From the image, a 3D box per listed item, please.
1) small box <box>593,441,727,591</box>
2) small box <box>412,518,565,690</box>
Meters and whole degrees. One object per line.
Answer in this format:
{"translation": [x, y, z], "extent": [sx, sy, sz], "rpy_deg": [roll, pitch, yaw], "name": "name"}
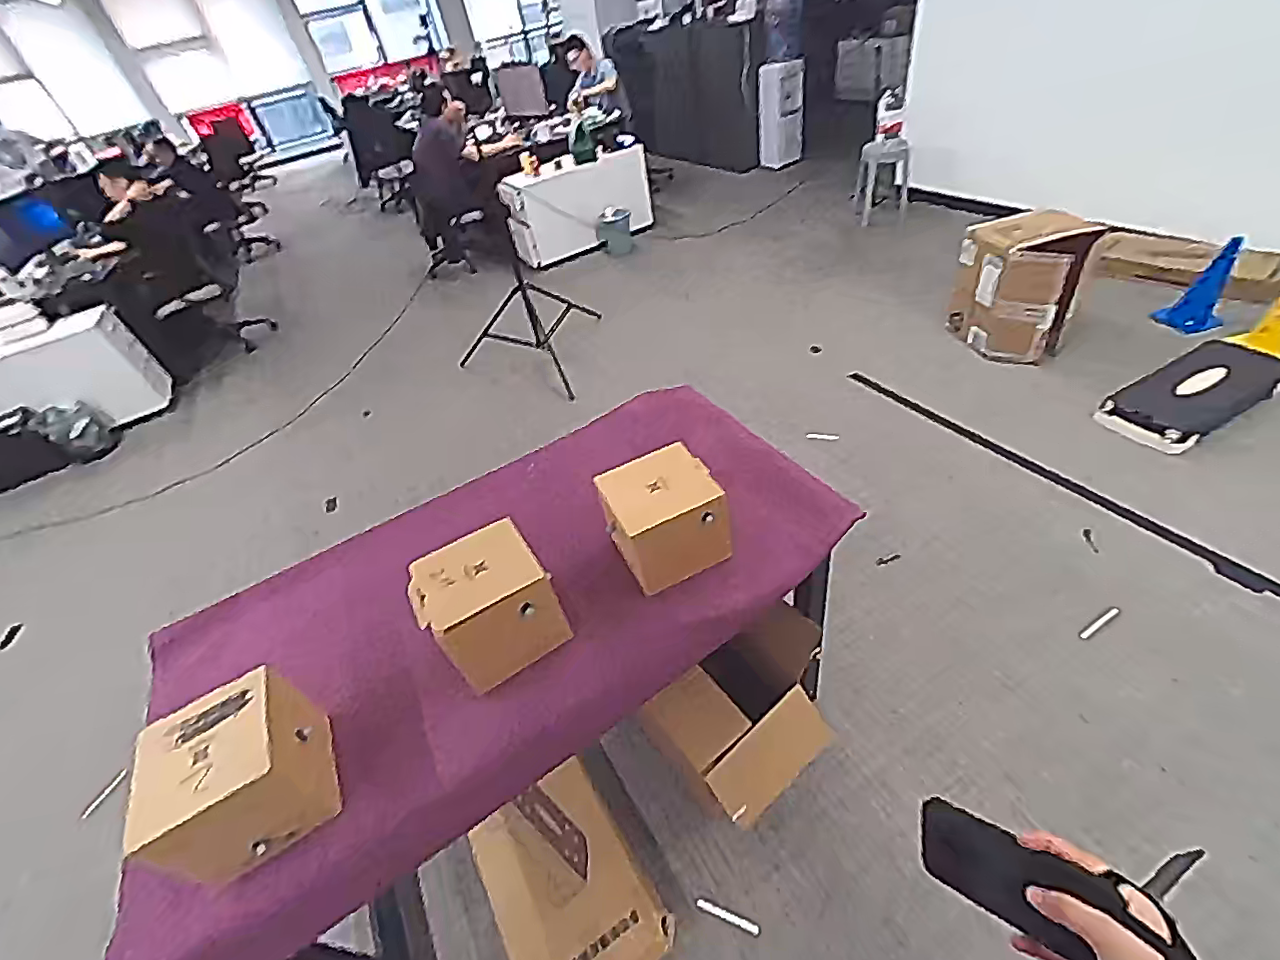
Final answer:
{"translation": [0.040, 0.066, 0.962], "extent": [0.179, 0.176, 0.168], "rpy_deg": [-24, 43, -12], "name": "small box"}
{"translation": [-0.238, 0.200, 0.883], "extent": [0.179, 0.176, 0.168], "rpy_deg": [-29, 42, -17], "name": "small box"}
